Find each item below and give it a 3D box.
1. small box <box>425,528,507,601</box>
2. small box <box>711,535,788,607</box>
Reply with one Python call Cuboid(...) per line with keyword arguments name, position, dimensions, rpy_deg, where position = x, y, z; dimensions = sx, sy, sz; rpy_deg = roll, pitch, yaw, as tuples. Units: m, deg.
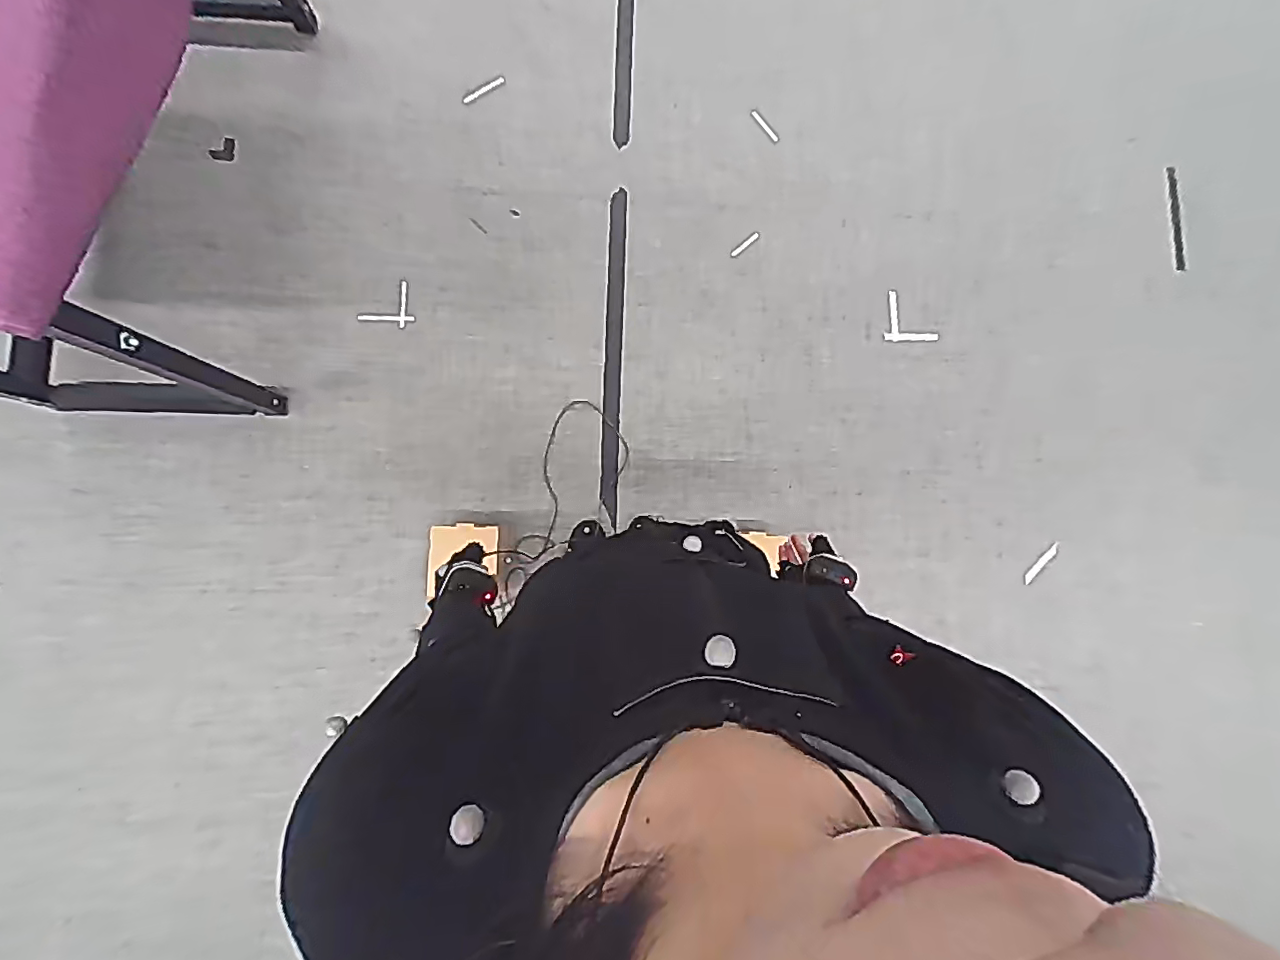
Cuboid(name="small box", position=(-0.440, 0.217, 1.392), dimensions=(0.168, 0.176, 0.179), rpy_deg=(2, 82, -5))
Cuboid(name="small box", position=(0.291, 0.241, 1.460), dimensions=(0.168, 0.176, 0.179), rpy_deg=(4, 85, -4))
